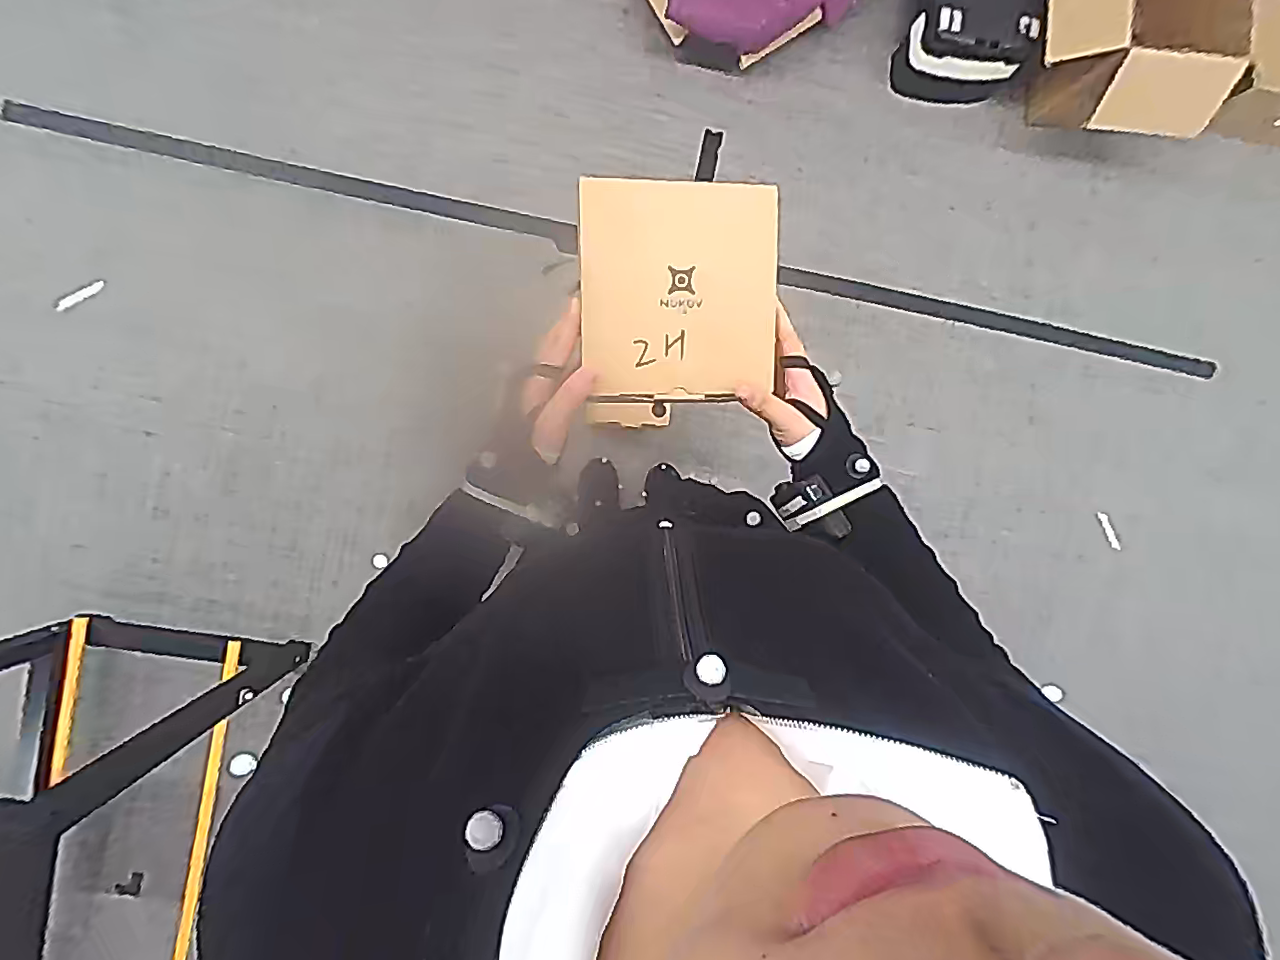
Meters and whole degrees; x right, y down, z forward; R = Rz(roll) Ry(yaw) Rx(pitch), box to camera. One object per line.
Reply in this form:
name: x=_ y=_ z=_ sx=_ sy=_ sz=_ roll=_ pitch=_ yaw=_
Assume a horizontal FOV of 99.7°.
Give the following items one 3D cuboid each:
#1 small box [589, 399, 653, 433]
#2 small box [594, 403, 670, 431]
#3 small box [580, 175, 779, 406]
small box: x=-0.042 y=-0.218 z=1.404 sx=0.168 sy=0.176 sz=0.179 roll=5 pitch=94 yaw=-3
small box: x=-0.015 y=-0.205 z=1.241 sx=0.168 sy=0.176 sz=0.179 roll=4 pitch=93 yaw=-3
small box: x=0.025 y=-0.164 z=0.523 sx=0.168 sy=0.176 sz=0.179 roll=-1 pitch=96 yaw=-5
